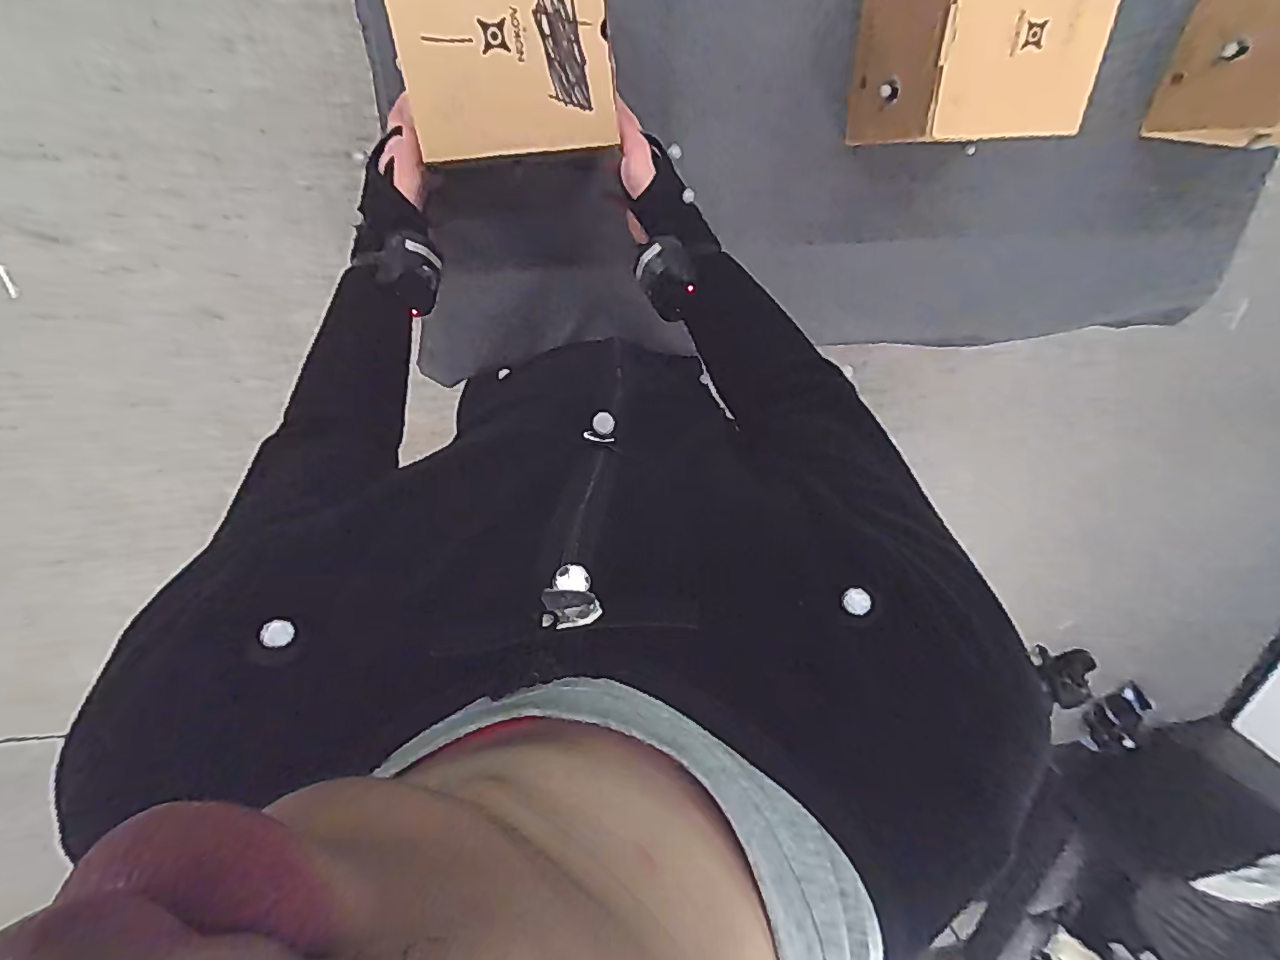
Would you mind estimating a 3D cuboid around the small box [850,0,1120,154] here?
[{"bbox_3d":[0.355,-0.452,0.583,0.179,0.176,0.168,-8,121,-9],"label":"small box"}]

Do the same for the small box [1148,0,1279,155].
[{"bbox_3d":[0.785,-0.493,0.647,0.179,0.176,0.168,-1,120,-10],"label":"small box"}]

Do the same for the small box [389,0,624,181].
[{"bbox_3d":[-0.119,-0.386,0.513,0.179,0.176,0.168,-9,118,-6],"label":"small box"}]
